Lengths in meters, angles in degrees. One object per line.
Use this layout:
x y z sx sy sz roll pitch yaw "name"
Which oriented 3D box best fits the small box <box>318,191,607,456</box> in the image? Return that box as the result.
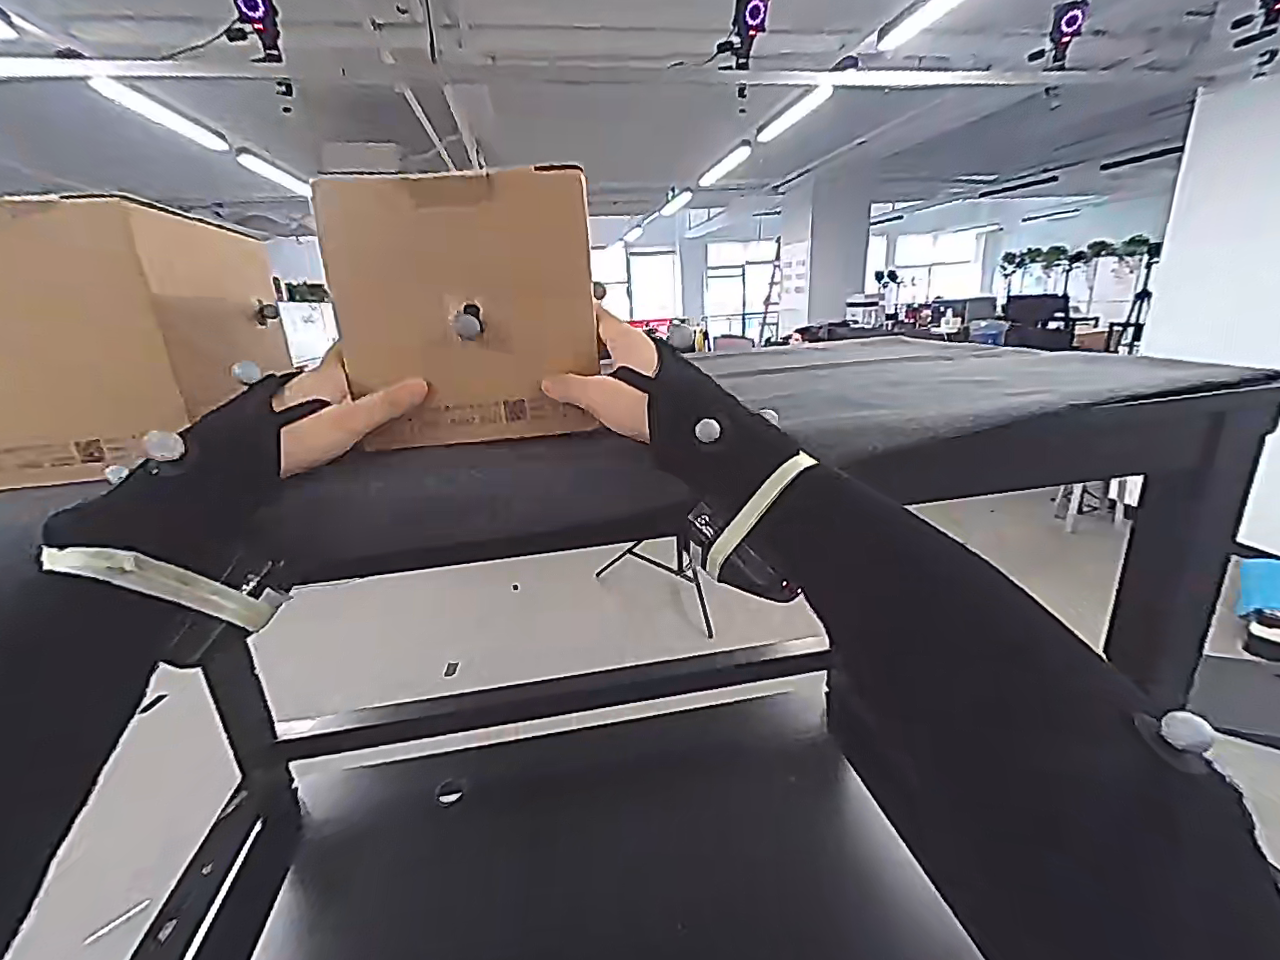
-0.120 -0.118 0.435 0.168 0.176 0.179 -6 17 -7 "small box"
